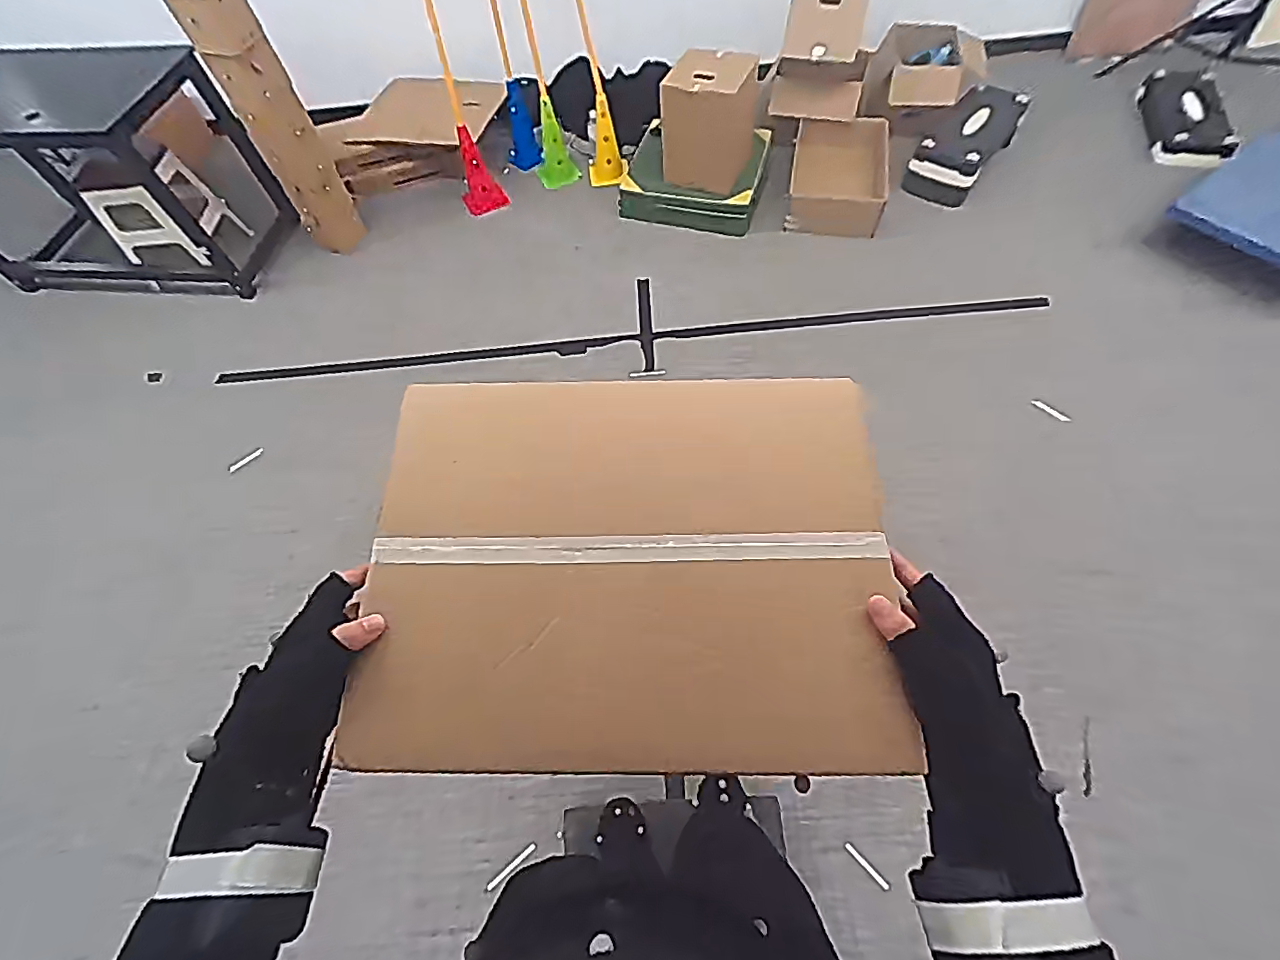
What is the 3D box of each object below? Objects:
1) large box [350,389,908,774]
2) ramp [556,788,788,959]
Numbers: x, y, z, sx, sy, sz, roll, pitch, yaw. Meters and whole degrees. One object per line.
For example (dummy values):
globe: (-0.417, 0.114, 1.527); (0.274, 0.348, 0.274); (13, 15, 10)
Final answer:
large box: (-0.006, 0.118, 0.574); (0.408, 0.320, 0.320); (0, 66, 1)
ramp: (0.079, 1.187, 1.078); (0.509, 0.206, 0.991); (-5, 61, -1)
